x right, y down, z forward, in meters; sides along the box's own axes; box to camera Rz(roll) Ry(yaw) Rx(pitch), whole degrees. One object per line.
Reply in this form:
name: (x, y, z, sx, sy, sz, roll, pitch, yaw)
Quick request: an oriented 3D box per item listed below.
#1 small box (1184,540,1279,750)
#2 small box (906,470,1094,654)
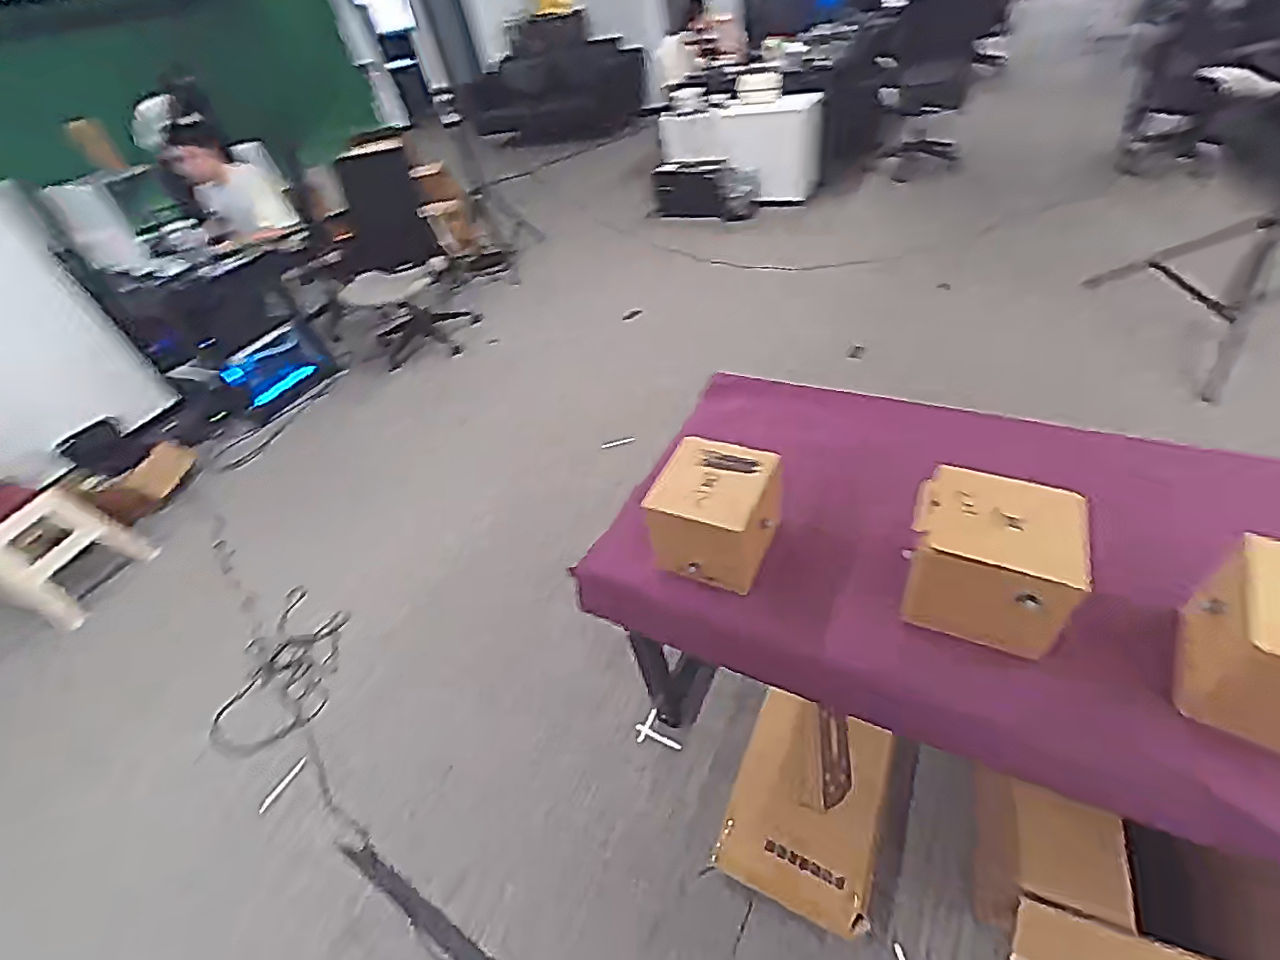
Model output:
small box: (0.756, 0.202, 0.598, 0.179, 0.176, 0.168, 21, 53, 31)
small box: (0.490, 0.115, 0.752, 0.179, 0.176, 0.168, 14, 48, 26)
